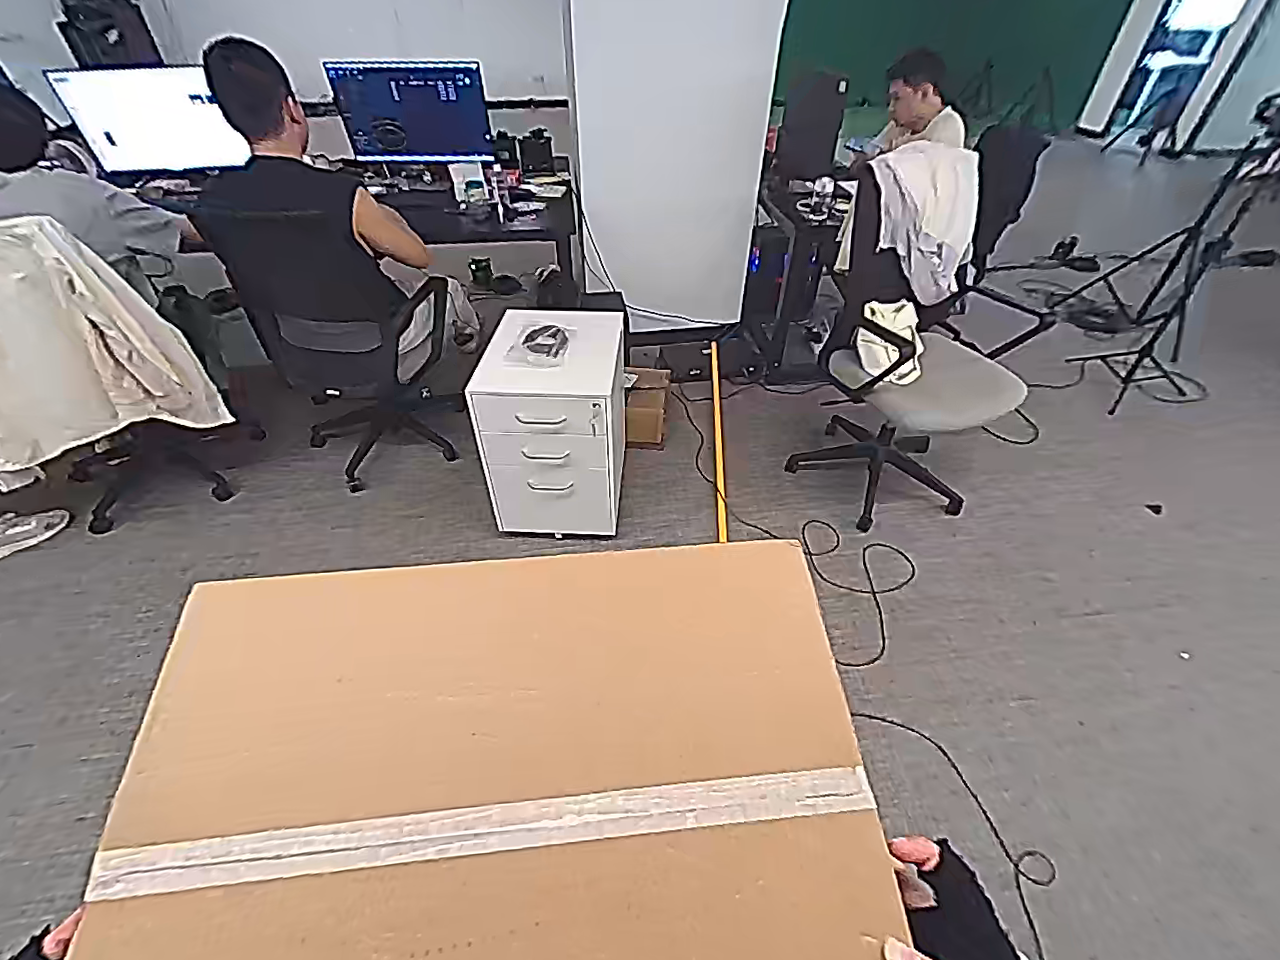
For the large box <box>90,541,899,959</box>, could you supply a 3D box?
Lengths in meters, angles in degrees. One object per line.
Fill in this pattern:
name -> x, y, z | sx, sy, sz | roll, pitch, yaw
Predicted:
large box -> -0.079, 0.268, 0.426 | 0.408, 0.320, 0.320 | -4, 59, -4
